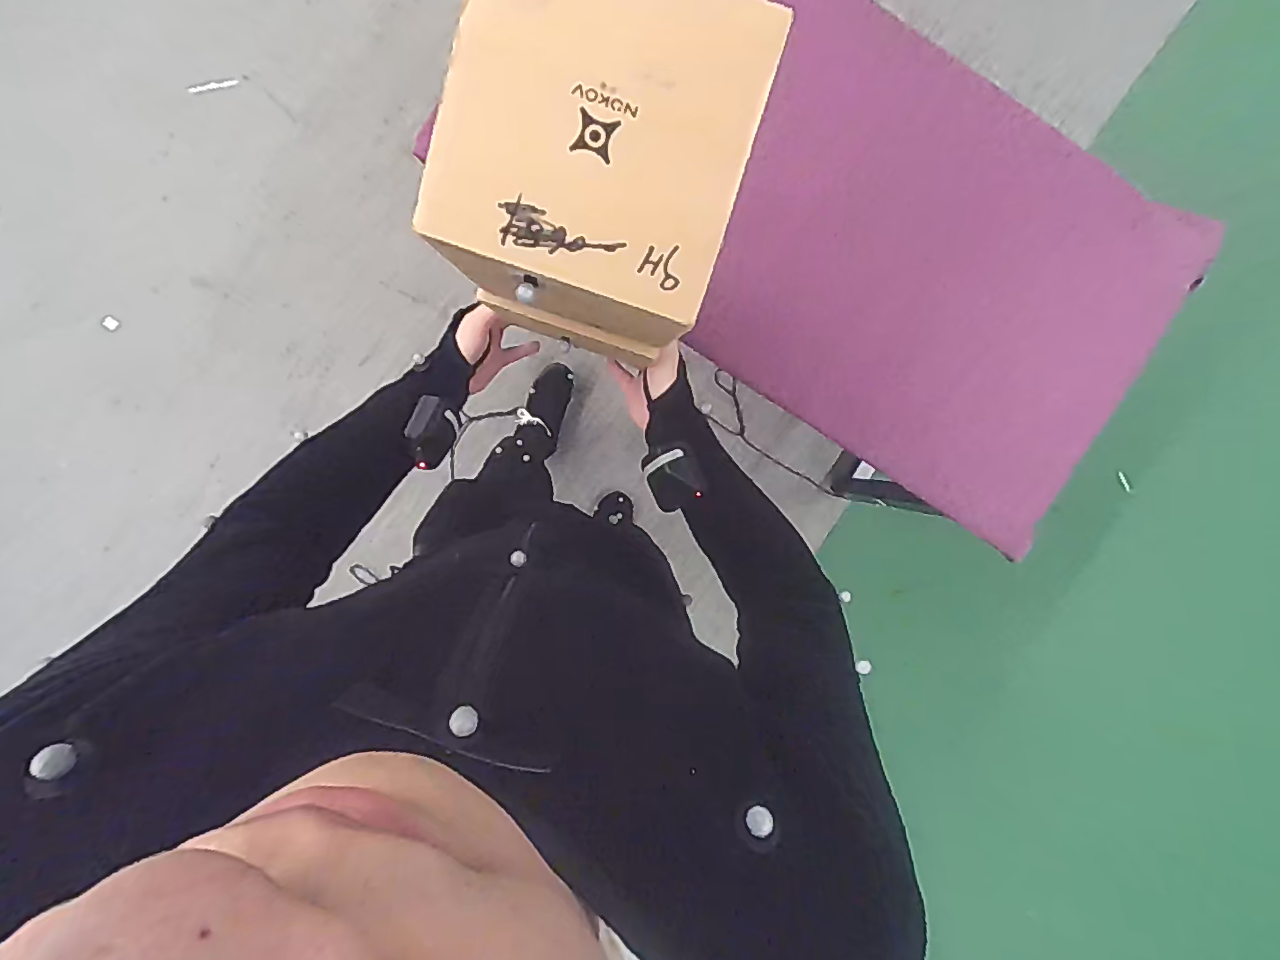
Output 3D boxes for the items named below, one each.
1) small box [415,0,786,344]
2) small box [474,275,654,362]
[{"bbox_3d":[-0.028,-0.209,0.375,0.168,0.176,0.179,17,97,-6],"label":"small box"},{"bbox_3d":[-0.044,-0.226,0.538,0.168,0.176,0.179,18,98,-7],"label":"small box"}]
